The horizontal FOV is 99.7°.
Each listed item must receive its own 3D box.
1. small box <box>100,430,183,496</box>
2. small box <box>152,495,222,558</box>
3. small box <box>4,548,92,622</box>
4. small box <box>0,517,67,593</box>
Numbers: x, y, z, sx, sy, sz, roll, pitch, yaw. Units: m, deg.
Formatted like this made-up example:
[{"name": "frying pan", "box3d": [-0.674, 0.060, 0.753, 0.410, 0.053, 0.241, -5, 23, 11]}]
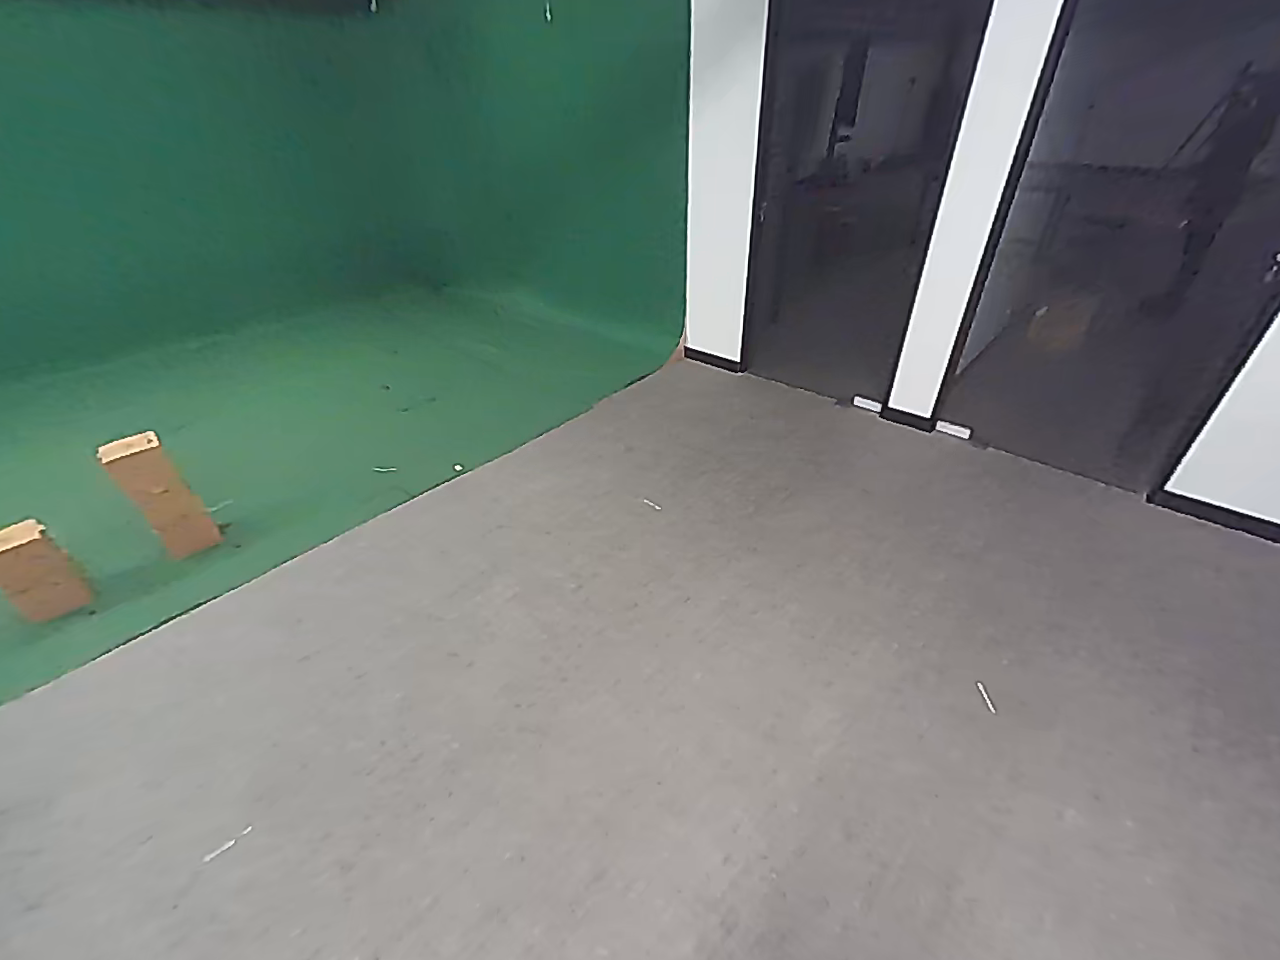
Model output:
[{"name": "small box", "box3d": [-1.933, -0.065, 2.098, 0.179, 0.176, 0.168, -31, 45, -33]}, {"name": "small box", "box3d": [-1.916, 0.197, 2.295, 0.179, 0.176, 0.168, -30, 45, -33]}, {"name": "small box", "box3d": [-2.210, 0.394, 2.028, 0.179, 0.176, 0.168, -28, 43, -32]}, {"name": "small box", "box3d": [-2.206, 0.267, 1.927, 0.168, 0.176, 0.179, 25, 44, 33]}]
